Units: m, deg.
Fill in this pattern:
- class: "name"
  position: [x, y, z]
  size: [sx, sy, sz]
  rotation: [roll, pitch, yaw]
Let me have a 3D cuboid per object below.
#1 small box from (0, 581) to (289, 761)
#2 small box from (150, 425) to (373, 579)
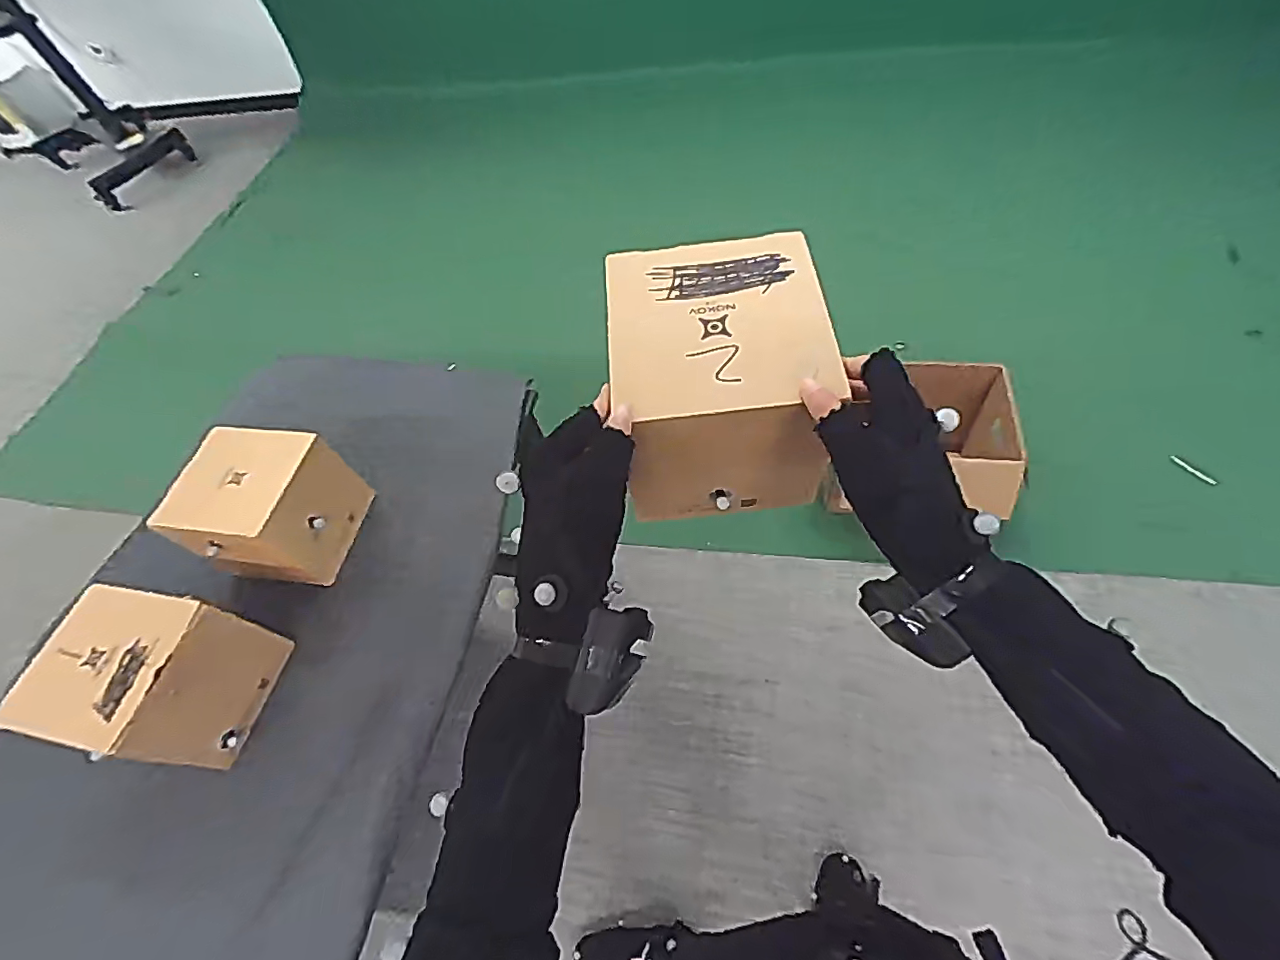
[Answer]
- class: "small box"
  position: [-0.595, 0.244, 0.677]
  size: [0.179, 0.176, 0.168]
  rotation: [6, 59, 13]
- class: "small box"
  position: [-0.538, 0.037, 0.802]
  size: [0.179, 0.176, 0.168]
  rotation: [4, 59, 11]
